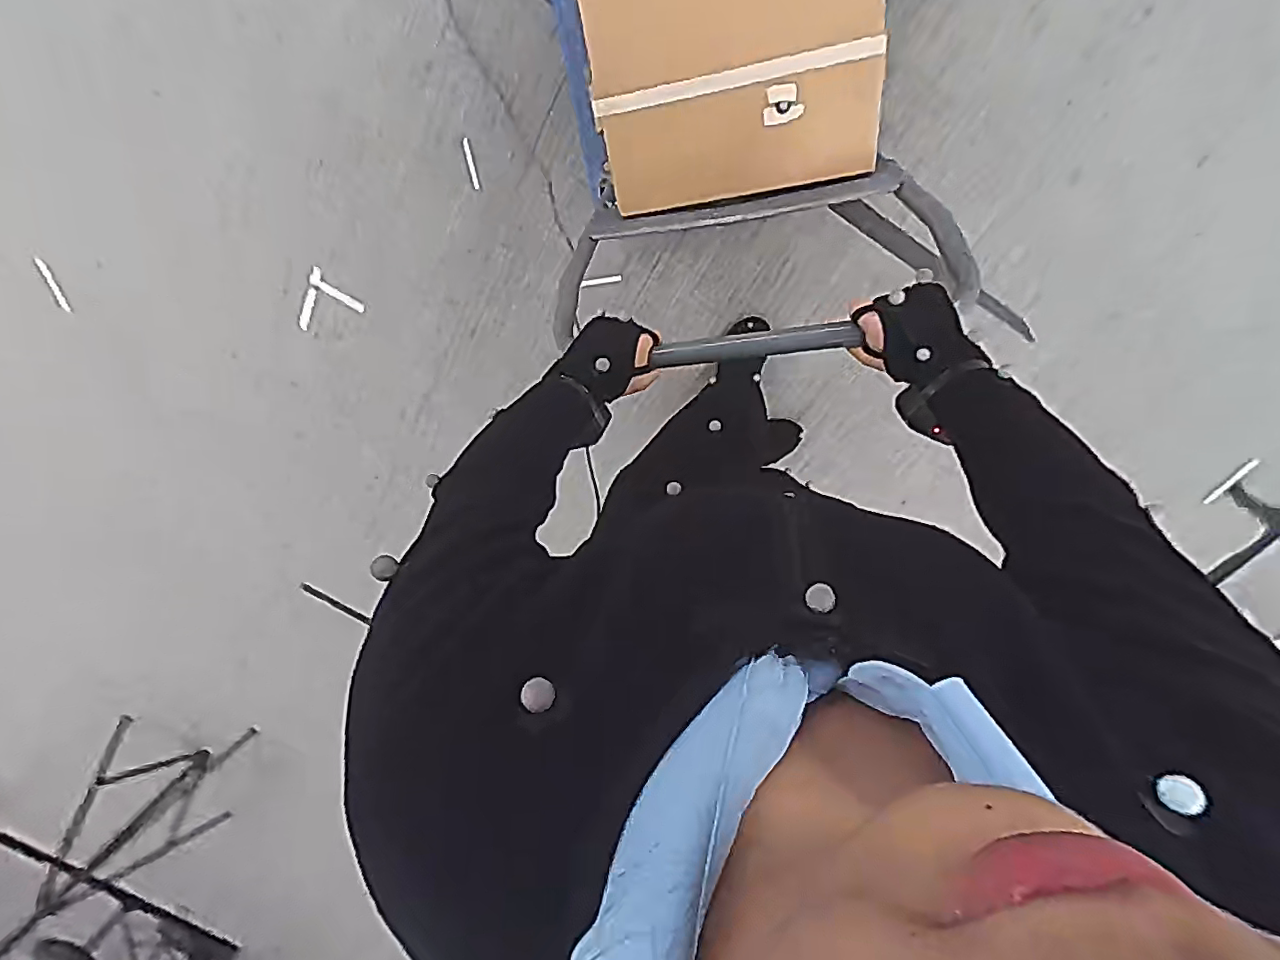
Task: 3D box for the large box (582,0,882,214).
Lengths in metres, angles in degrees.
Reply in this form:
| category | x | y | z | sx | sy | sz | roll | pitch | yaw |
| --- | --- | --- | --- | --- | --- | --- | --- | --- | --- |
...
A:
| category | x | y | z | sx | sy | sz | roll | pitch | yaw |
| --- | --- | --- | --- | --- | --- | --- | --- | --- | --- |
| large box | 0.150 | -0.679 | 0.901 | 0.408 | 0.320 | 0.320 | -6 | 128 | 10 |
